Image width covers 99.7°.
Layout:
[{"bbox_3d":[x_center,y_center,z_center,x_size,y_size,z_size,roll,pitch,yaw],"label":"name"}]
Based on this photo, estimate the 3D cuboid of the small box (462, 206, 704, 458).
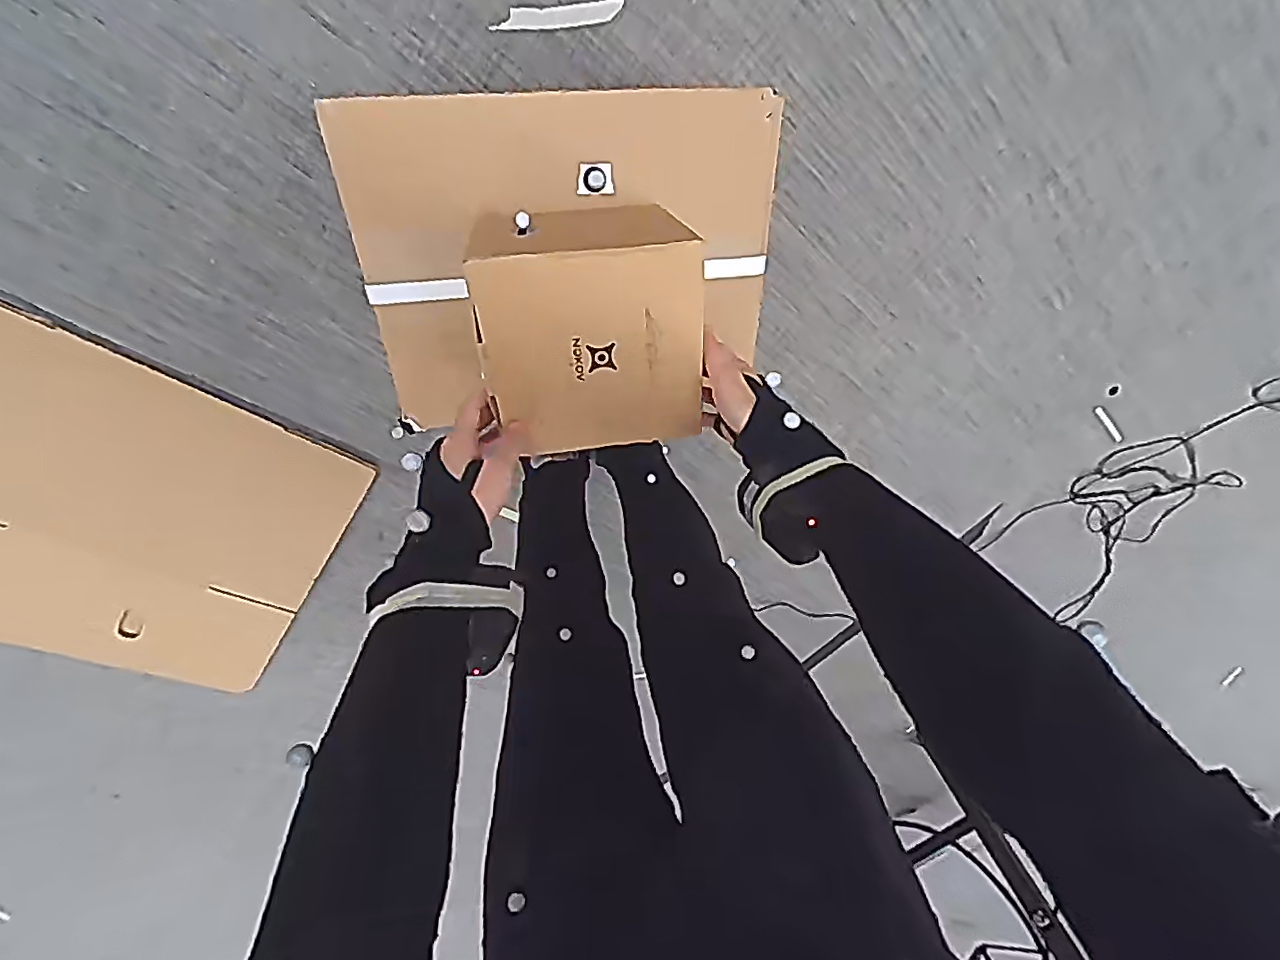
[{"bbox_3d":[-0.047,-0.142,0.493,0.179,0.176,0.168,-9,126,-6],"label":"small box"}]
